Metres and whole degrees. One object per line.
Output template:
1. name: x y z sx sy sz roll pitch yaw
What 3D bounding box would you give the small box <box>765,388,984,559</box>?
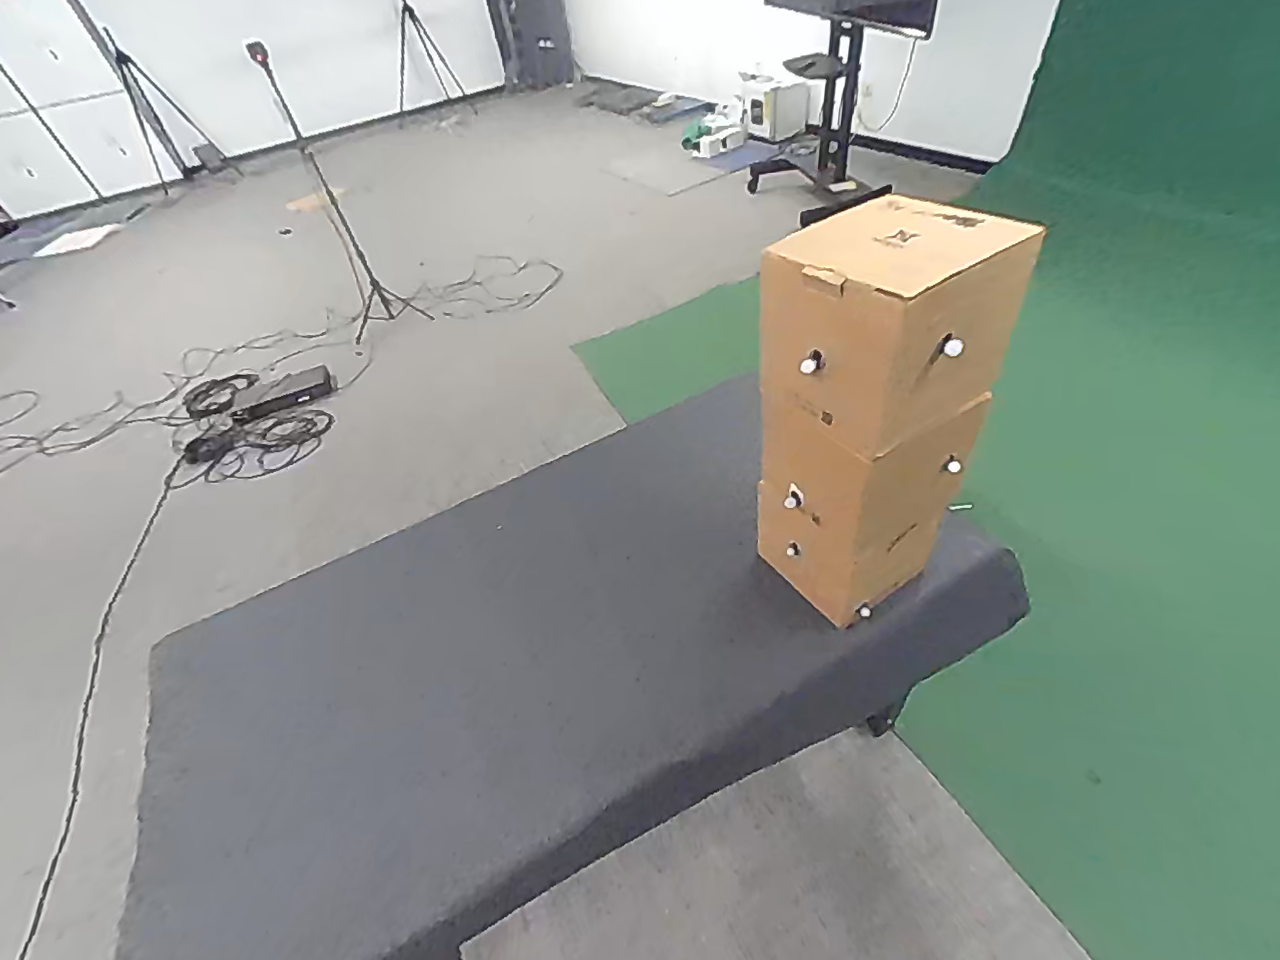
1. small box: 0.271 -0.038 0.665 0.179 0.176 0.168 -28 45 -15

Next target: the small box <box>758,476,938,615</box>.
1. small box: 0.291 0.069 0.784 0.168 0.176 0.179 -29 46 -17

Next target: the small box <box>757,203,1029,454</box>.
1. small box: 0.242 -0.156 0.555 0.179 0.176 0.168 -29 46 -16
